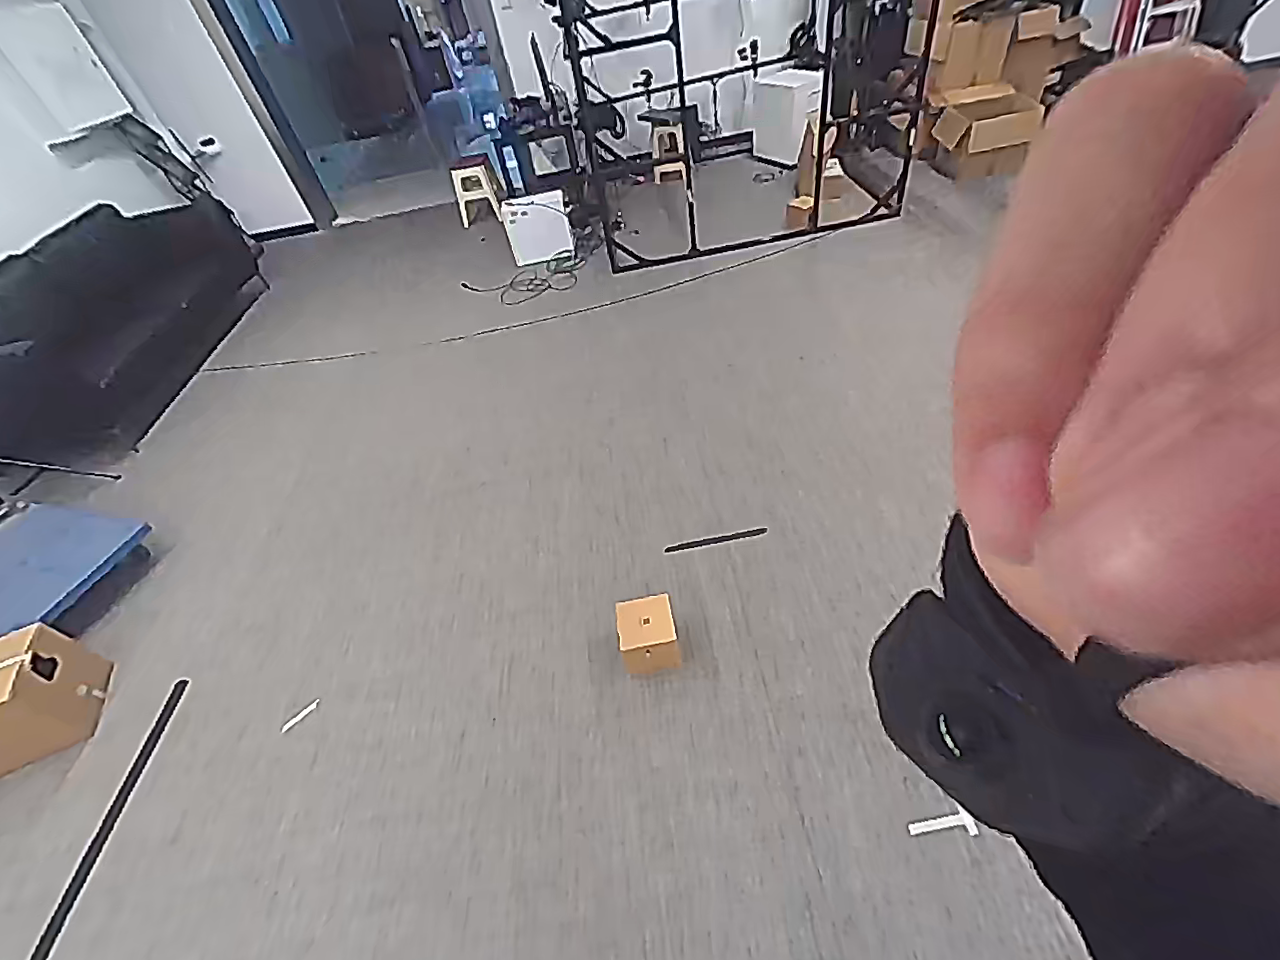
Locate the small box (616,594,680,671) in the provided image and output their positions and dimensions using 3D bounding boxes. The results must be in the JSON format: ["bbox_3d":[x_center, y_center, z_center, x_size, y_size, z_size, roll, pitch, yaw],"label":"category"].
[{"bbox_3d":[0.028,0.491,1.734,0.179,0.176,0.168,-12,46,2],"label":"small box"}]
